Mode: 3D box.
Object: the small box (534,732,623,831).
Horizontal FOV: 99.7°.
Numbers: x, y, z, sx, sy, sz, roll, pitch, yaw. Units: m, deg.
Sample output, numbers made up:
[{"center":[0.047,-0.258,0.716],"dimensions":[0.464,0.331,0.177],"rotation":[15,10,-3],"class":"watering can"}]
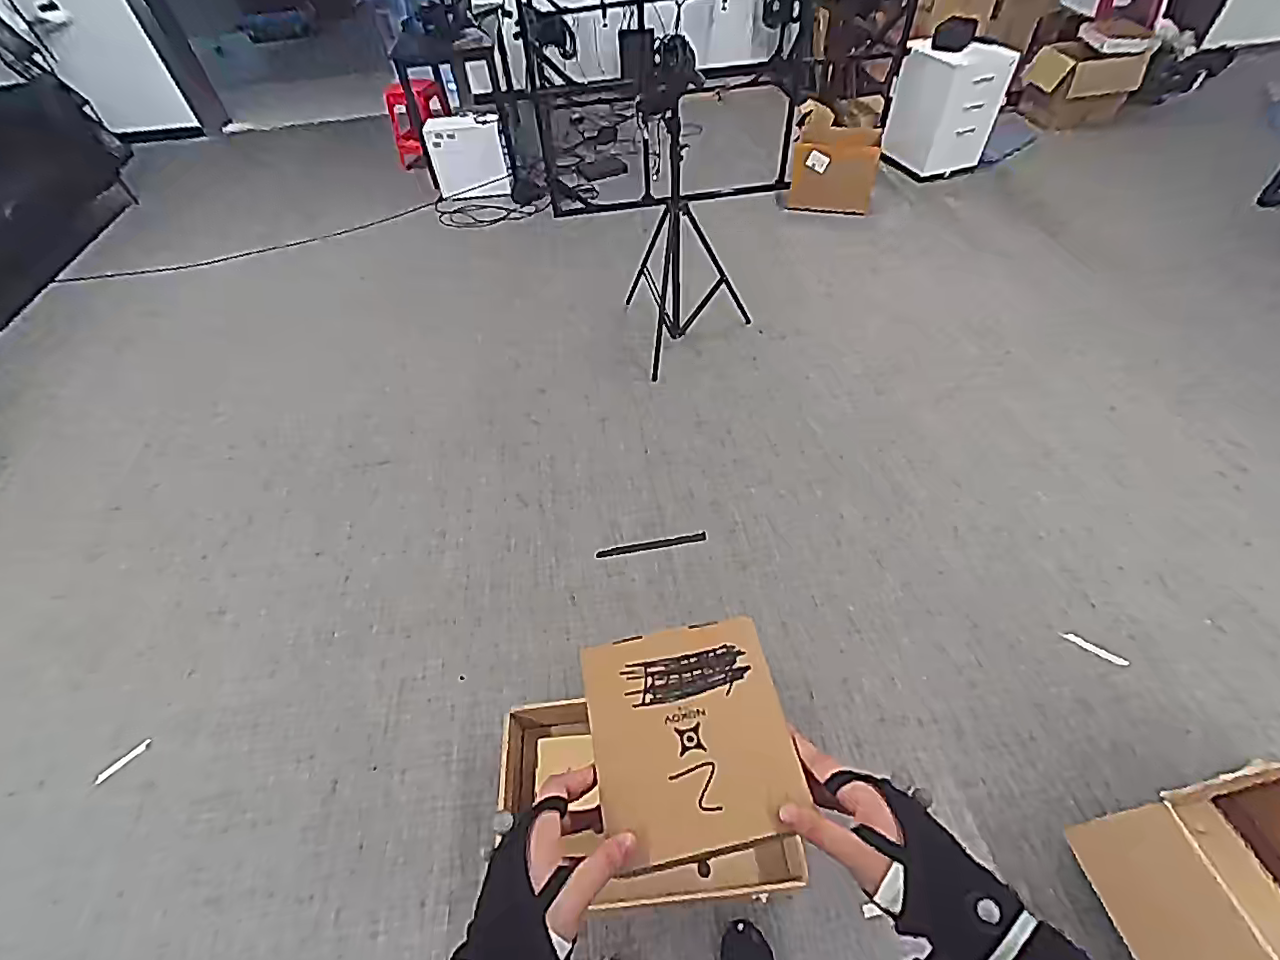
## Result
[{"center":[-0.134,0.685,1.223],"dimensions":[0.179,0.176,0.168],"rotation":[-5,52,-2],"class":"small box"}]
